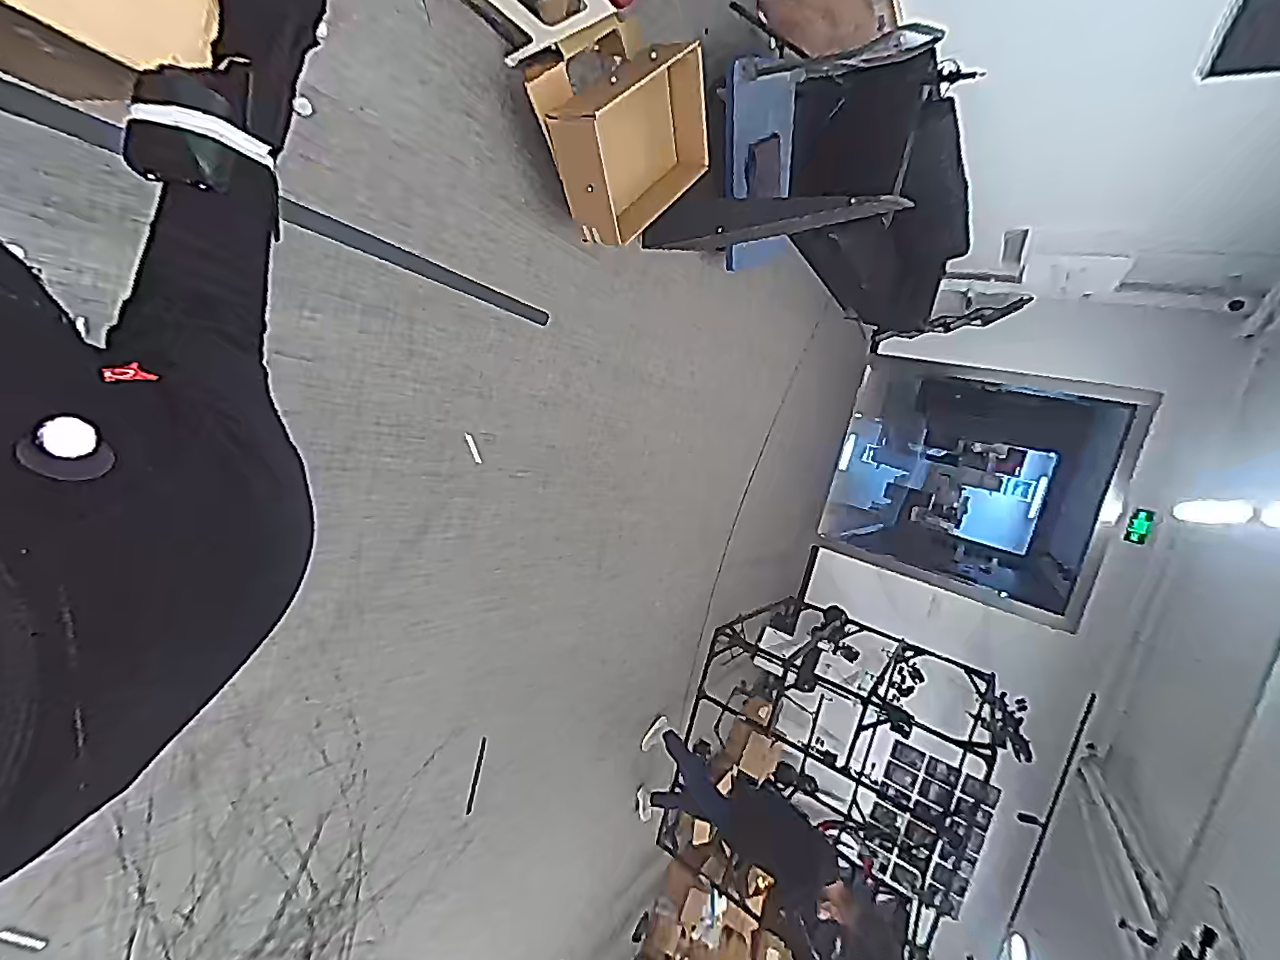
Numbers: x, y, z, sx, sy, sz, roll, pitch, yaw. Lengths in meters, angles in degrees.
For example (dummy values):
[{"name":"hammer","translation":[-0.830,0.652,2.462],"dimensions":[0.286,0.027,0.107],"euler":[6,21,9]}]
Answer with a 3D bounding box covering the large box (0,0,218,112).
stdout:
[{"name":"large box","translation":[-0.497,-0.458,0.267],"dimensions":[0.408,0.320,0.320],"euler":[1,110,-61]}]
